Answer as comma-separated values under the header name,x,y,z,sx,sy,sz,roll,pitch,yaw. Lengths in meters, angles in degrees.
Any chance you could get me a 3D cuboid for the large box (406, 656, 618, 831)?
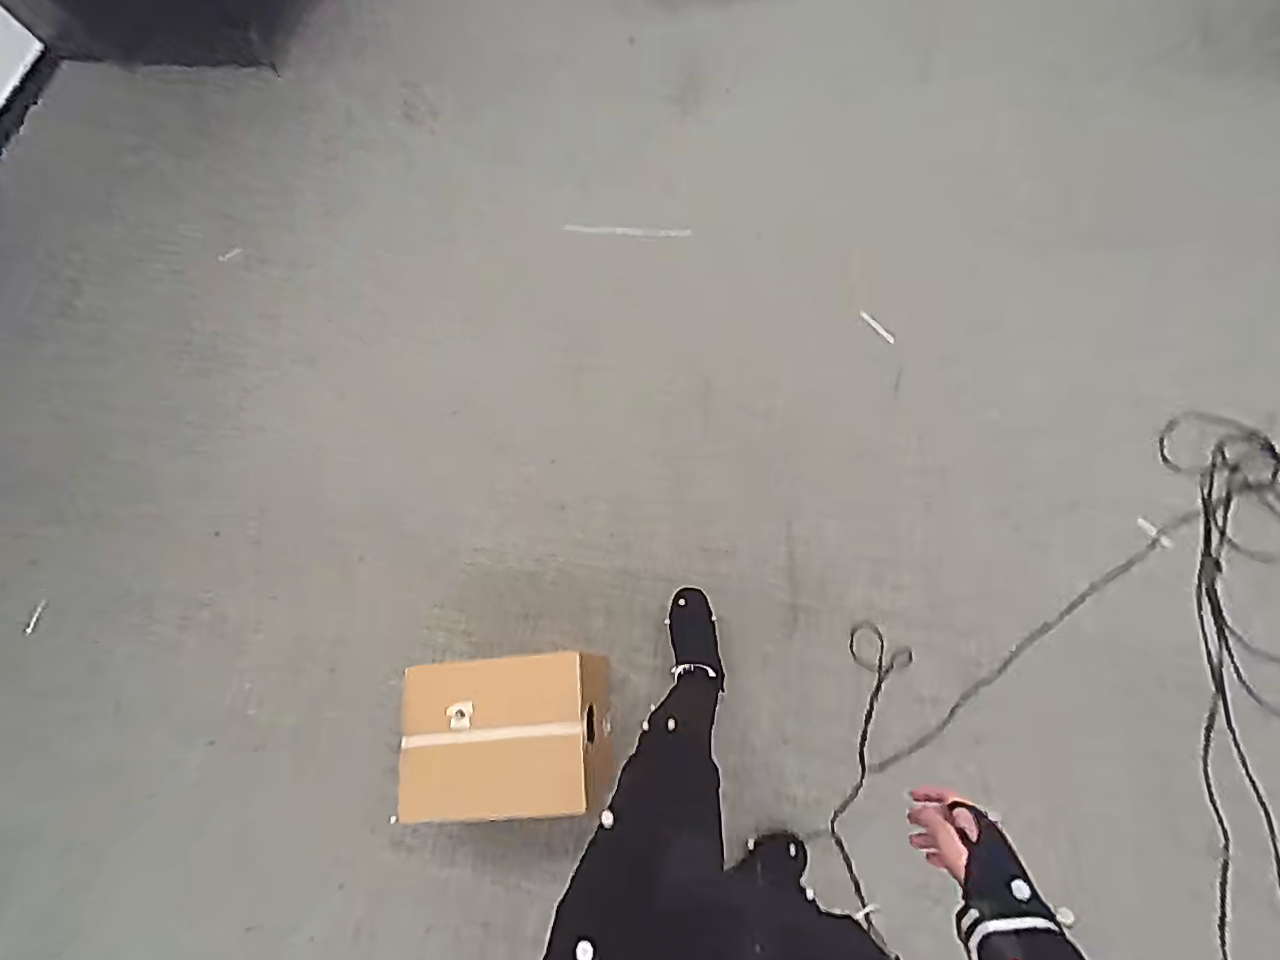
name,x,y,z,sx,sy,sz,roll,pitch,yaw
large box,-0.285,0.606,1.293,0.408,0.320,0.320,-8,69,6
